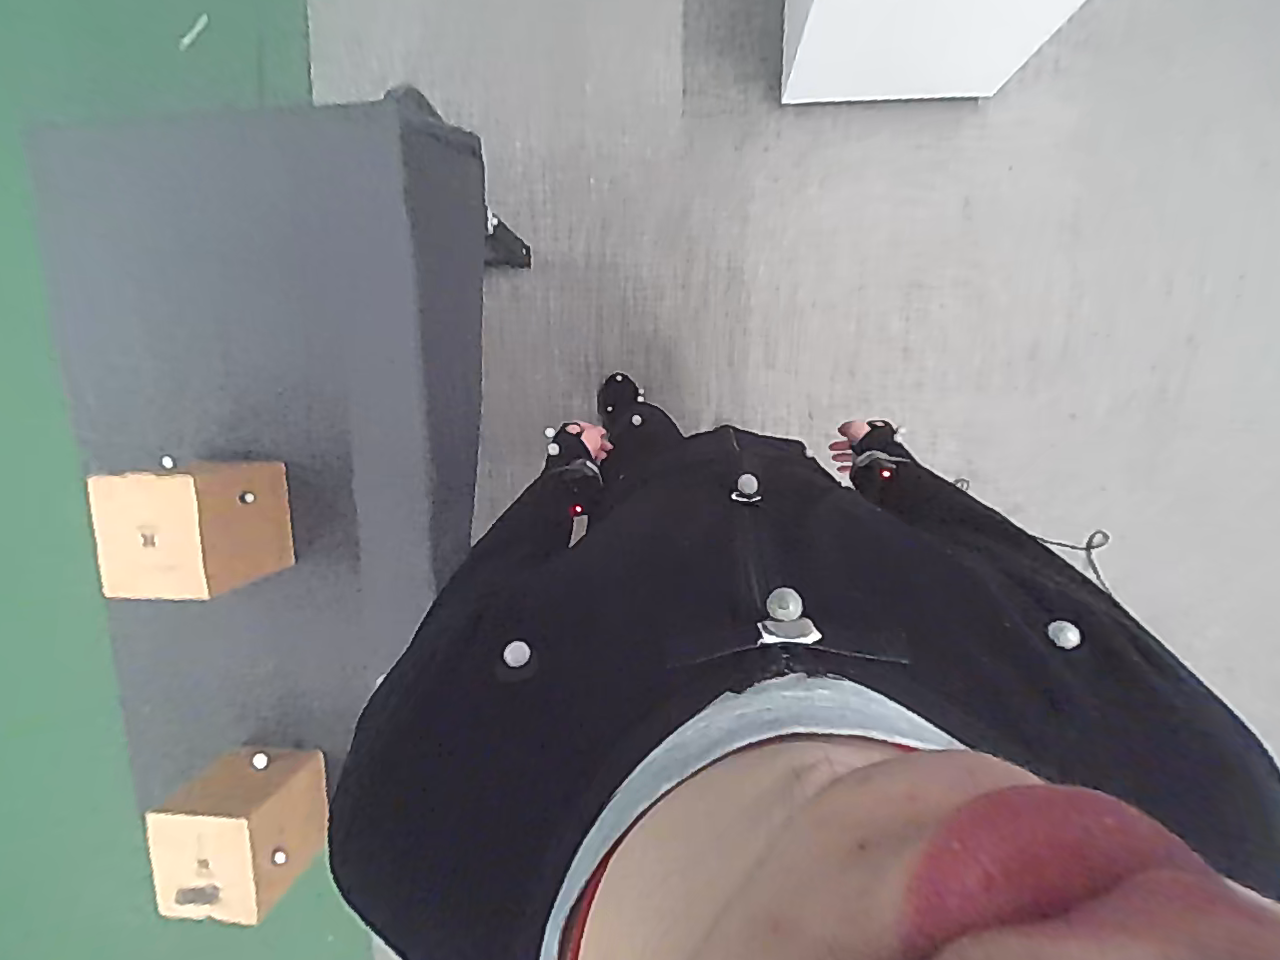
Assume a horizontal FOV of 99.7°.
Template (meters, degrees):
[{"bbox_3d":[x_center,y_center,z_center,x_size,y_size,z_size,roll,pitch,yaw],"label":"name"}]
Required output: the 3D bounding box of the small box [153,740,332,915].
[{"bbox_3d":[-0.637,0.561,0.890,0.168,0.176,0.179,0,98,4],"label":"small box"}]

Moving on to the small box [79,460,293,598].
[{"bbox_3d":[-0.662,0.063,0.811,0.168,0.176,0.179,-1,101,6],"label":"small box"}]
